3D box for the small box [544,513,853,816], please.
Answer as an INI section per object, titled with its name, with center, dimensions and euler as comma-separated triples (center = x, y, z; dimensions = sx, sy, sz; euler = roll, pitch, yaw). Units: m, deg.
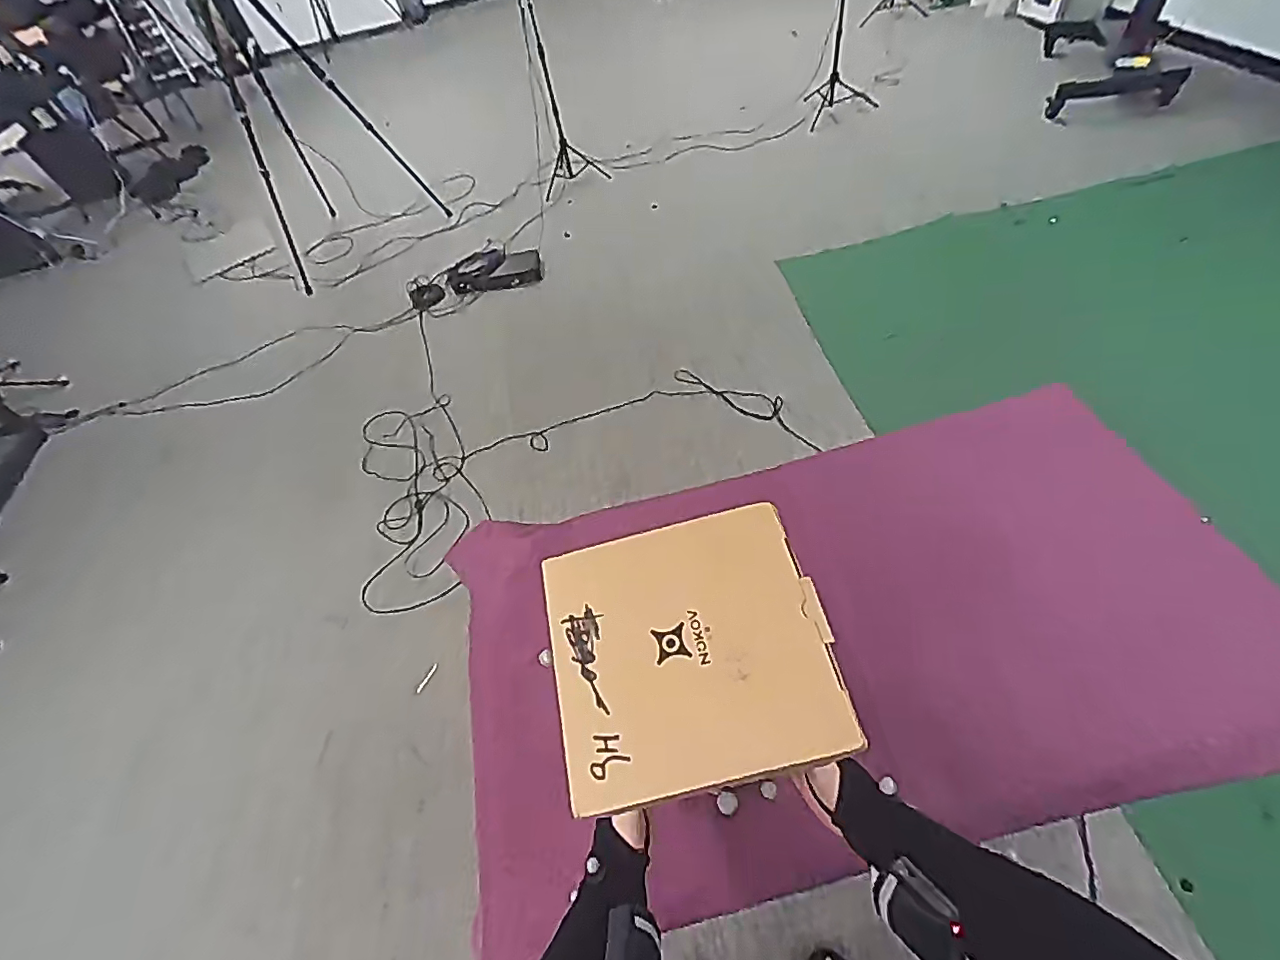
[small box]
center = 0.038, 0.151, 0.425
dimensions = 0.179, 0.176, 0.168
euler = -14, 57, 1
